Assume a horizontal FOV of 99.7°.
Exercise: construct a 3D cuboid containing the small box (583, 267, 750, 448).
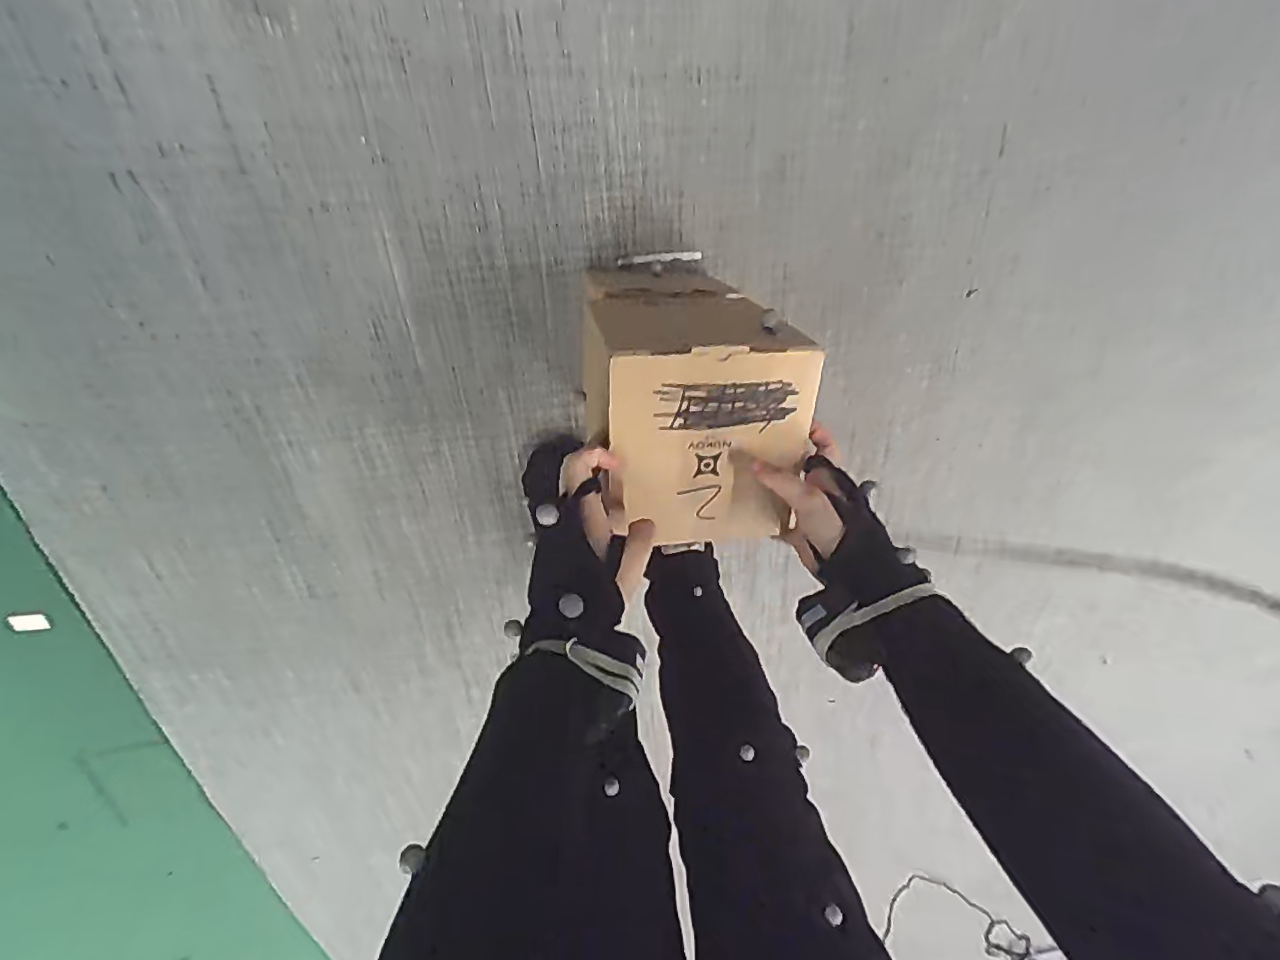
[{"bbox_3d":[0.018,-0.153,0.663,0.168,0.176,0.179,-1,118,-9],"label":"small box"}]
